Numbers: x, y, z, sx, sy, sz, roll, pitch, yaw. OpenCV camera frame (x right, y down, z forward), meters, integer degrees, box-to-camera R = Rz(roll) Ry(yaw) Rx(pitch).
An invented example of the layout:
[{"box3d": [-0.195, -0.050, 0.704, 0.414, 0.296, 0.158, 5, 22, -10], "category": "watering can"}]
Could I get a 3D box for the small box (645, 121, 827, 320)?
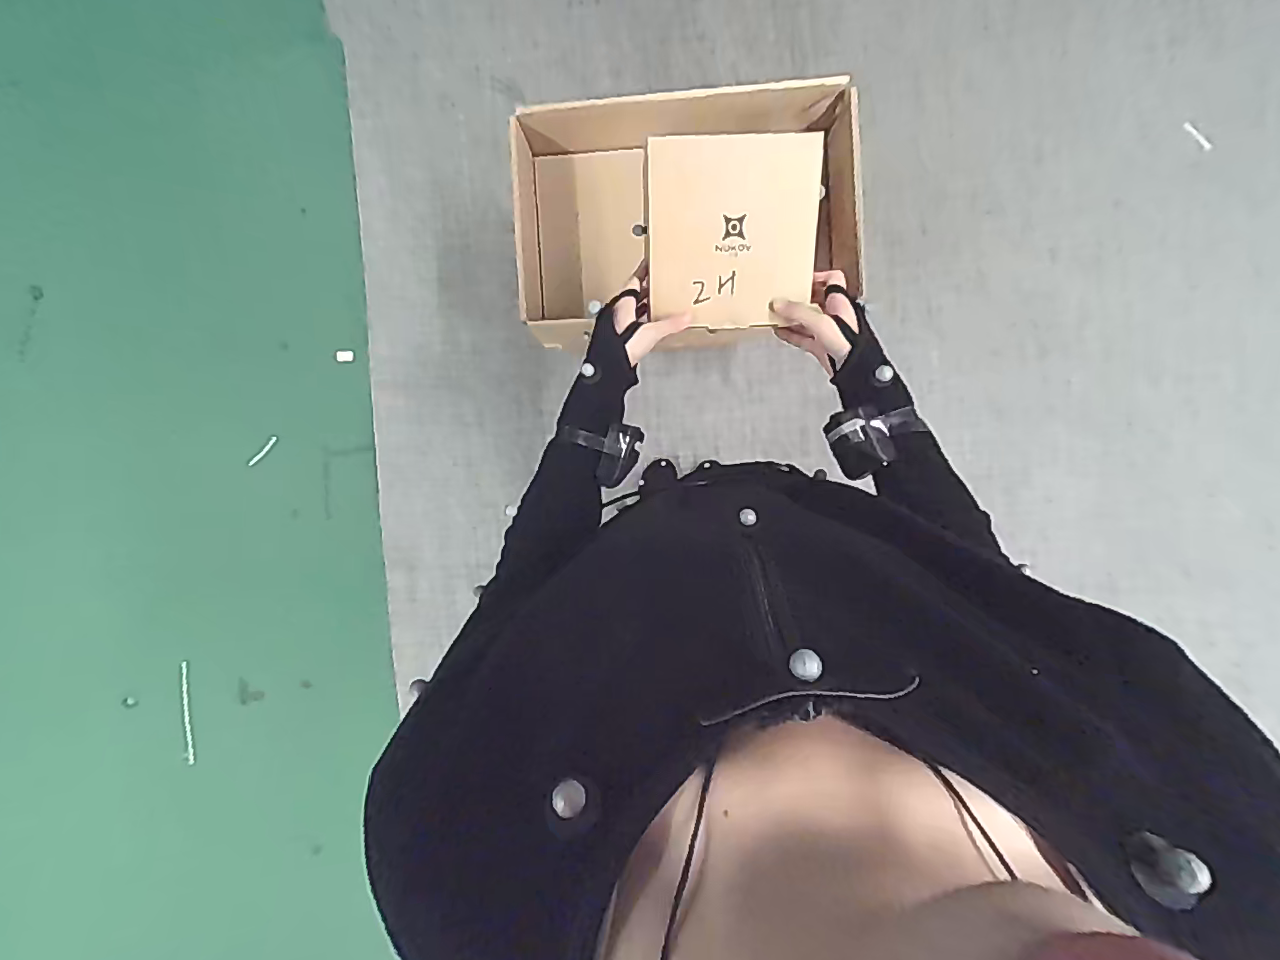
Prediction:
[{"box3d": [0.090, -0.272, 0.597, 0.168, 0.176, 0.179, -1, 111, 0], "category": "small box"}]
